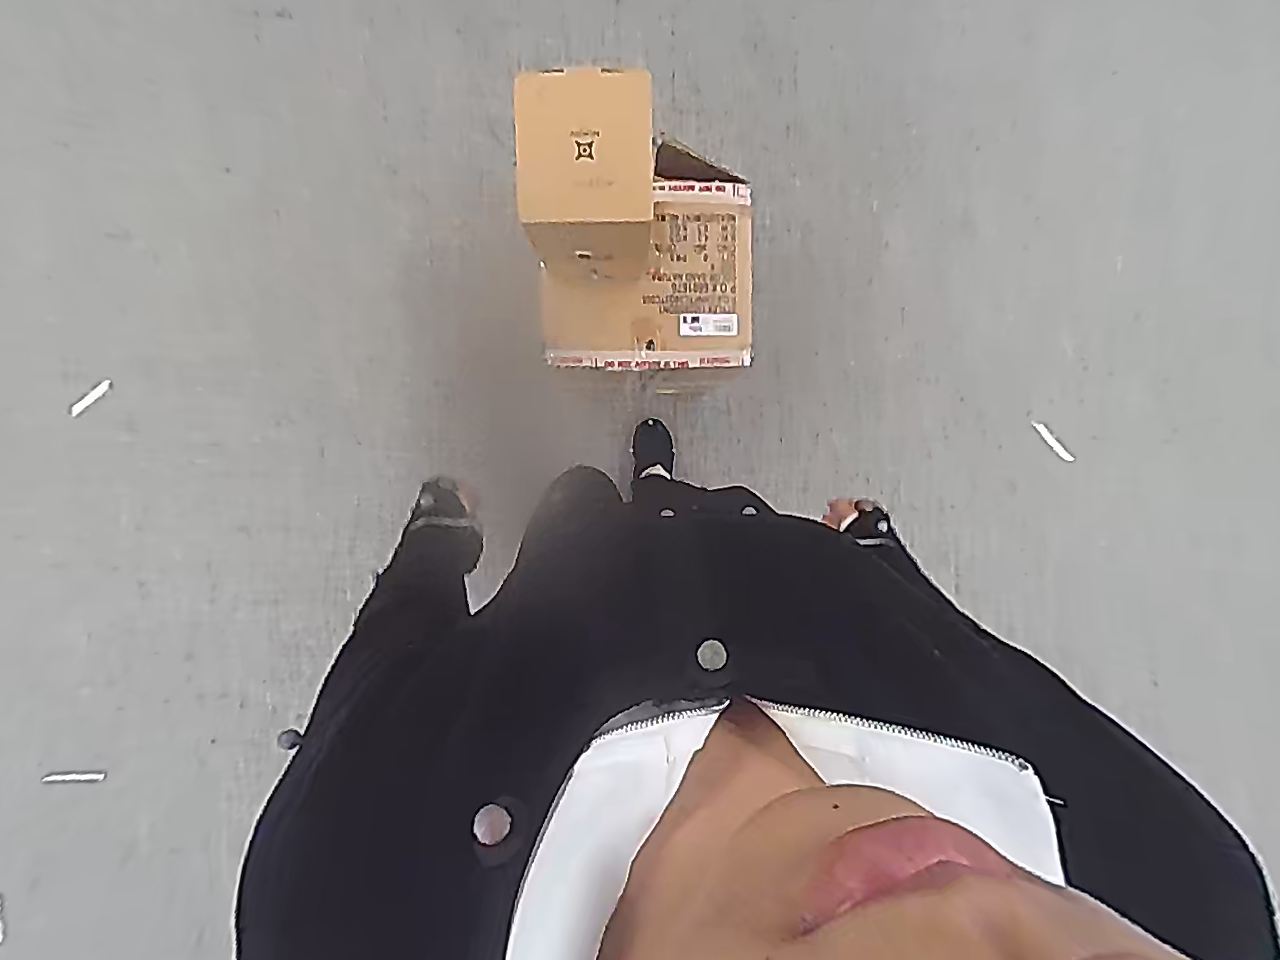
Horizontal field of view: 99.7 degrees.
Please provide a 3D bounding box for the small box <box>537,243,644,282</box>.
[{"bbox_3d":[-0.076,-0.439,0.886,0.168,0.176,0.179,-1,96,-1],"label":"small box"}]

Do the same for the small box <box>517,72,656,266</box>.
[{"bbox_3d":[-0.065,-0.403,0.726,0.168,0.176,0.179,-2,96,0],"label":"small box"}]
